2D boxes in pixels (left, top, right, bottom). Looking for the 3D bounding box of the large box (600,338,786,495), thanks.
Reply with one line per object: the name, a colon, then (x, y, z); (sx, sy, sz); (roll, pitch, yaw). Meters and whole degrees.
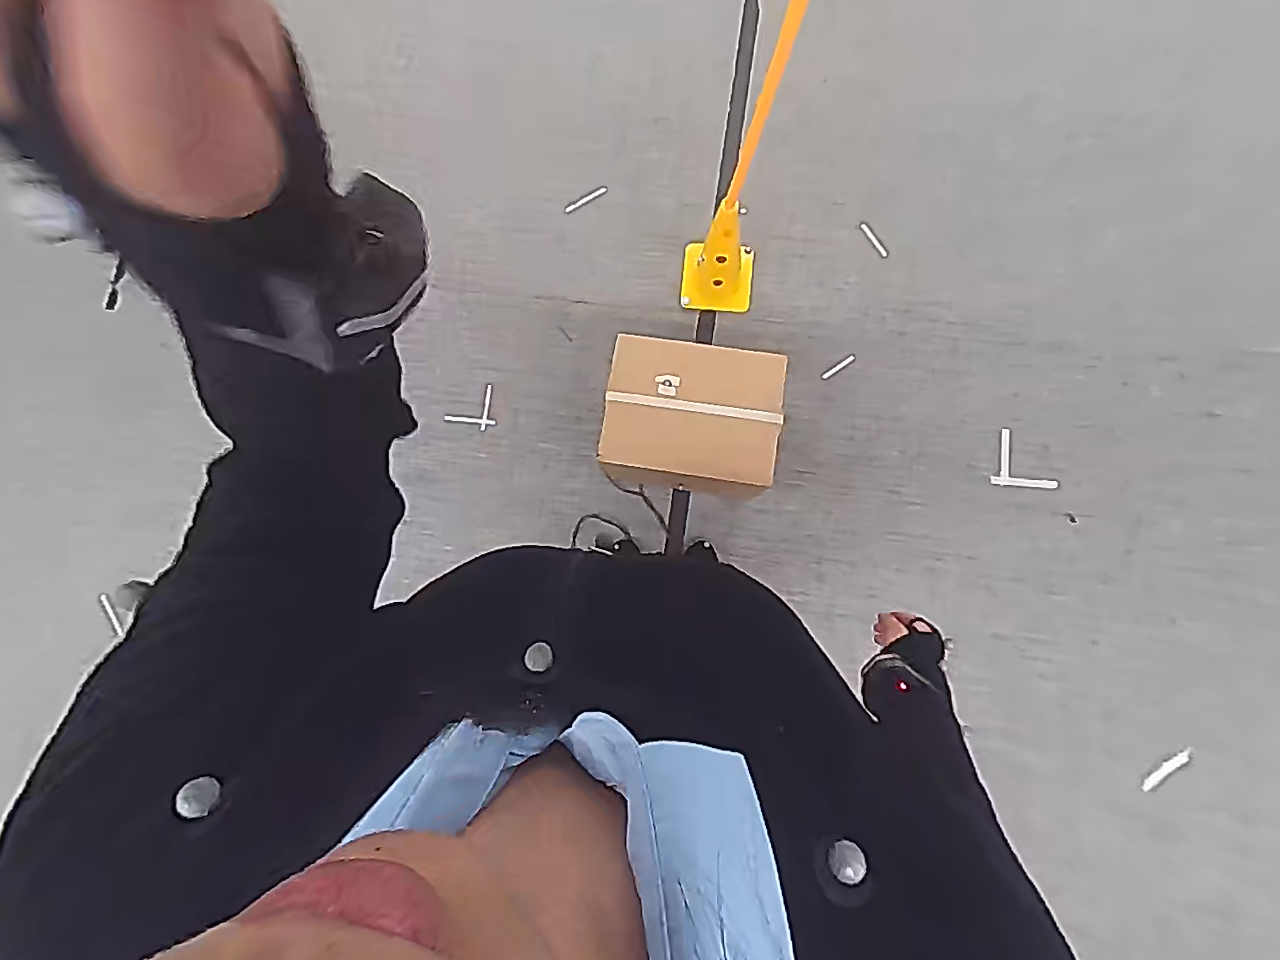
large box: (0.136, -0.147, 1.399); (0.408, 0.320, 0.320); (8, 82, 5)
